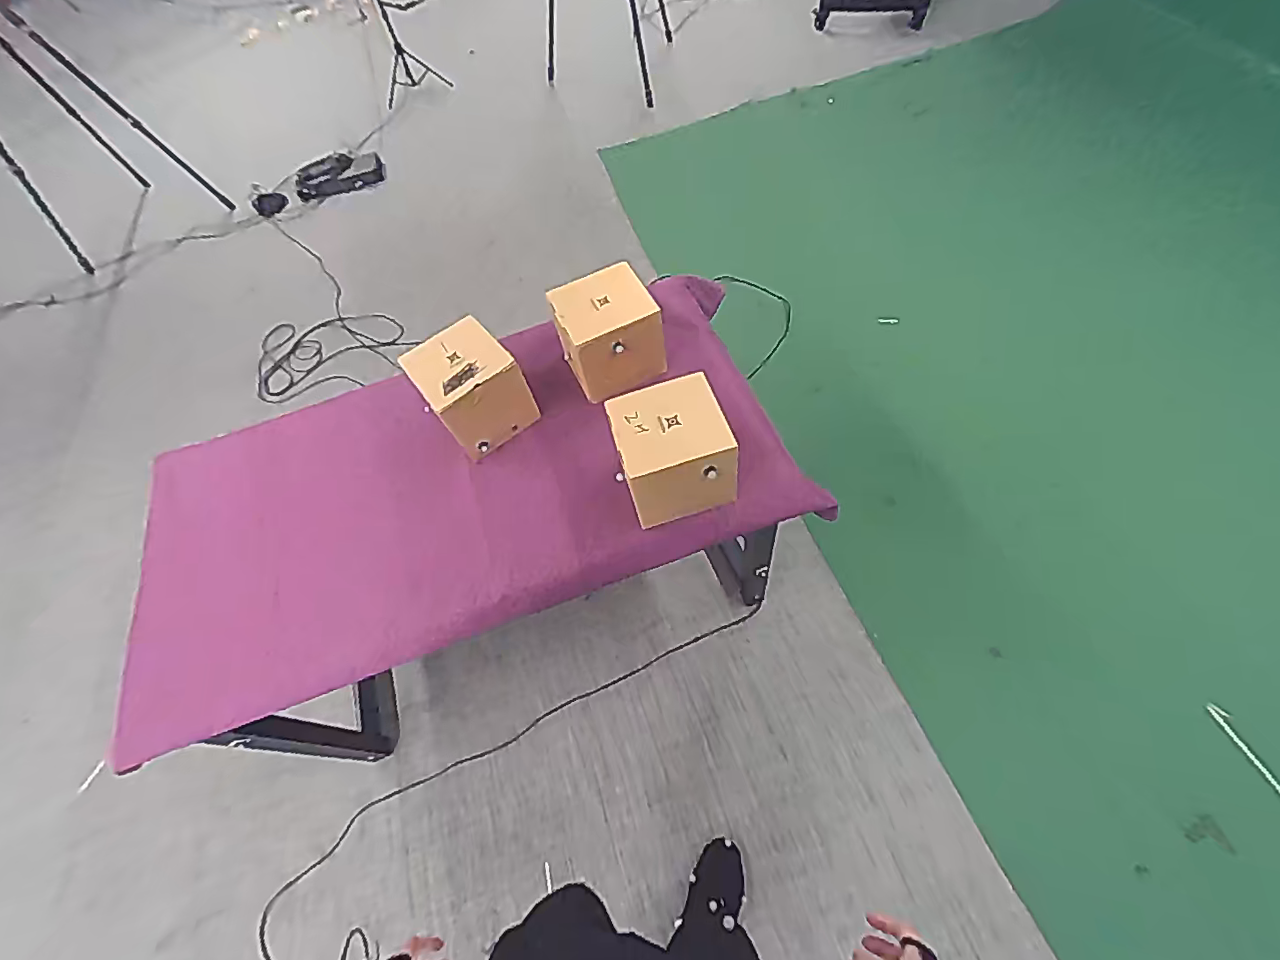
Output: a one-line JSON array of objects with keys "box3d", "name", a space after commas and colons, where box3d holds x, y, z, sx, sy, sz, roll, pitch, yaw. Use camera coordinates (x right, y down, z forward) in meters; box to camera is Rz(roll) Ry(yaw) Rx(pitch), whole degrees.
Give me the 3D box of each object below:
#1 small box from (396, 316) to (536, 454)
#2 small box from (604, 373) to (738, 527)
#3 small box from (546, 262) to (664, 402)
[{"box3d": [-0.326, -0.173, 1.045, 0.168, 0.176, 0.179, -37, 61, -13], "name": "small box"}, {"box3d": [0.053, -0.045, 0.907, 0.179, 0.176, 0.168, -17, 57, -1], "name": "small box"}, {"box3d": [-0.062, -0.290, 1.075, 0.179, 0.176, 0.168, -26, 60, -5], "name": "small box"}]
